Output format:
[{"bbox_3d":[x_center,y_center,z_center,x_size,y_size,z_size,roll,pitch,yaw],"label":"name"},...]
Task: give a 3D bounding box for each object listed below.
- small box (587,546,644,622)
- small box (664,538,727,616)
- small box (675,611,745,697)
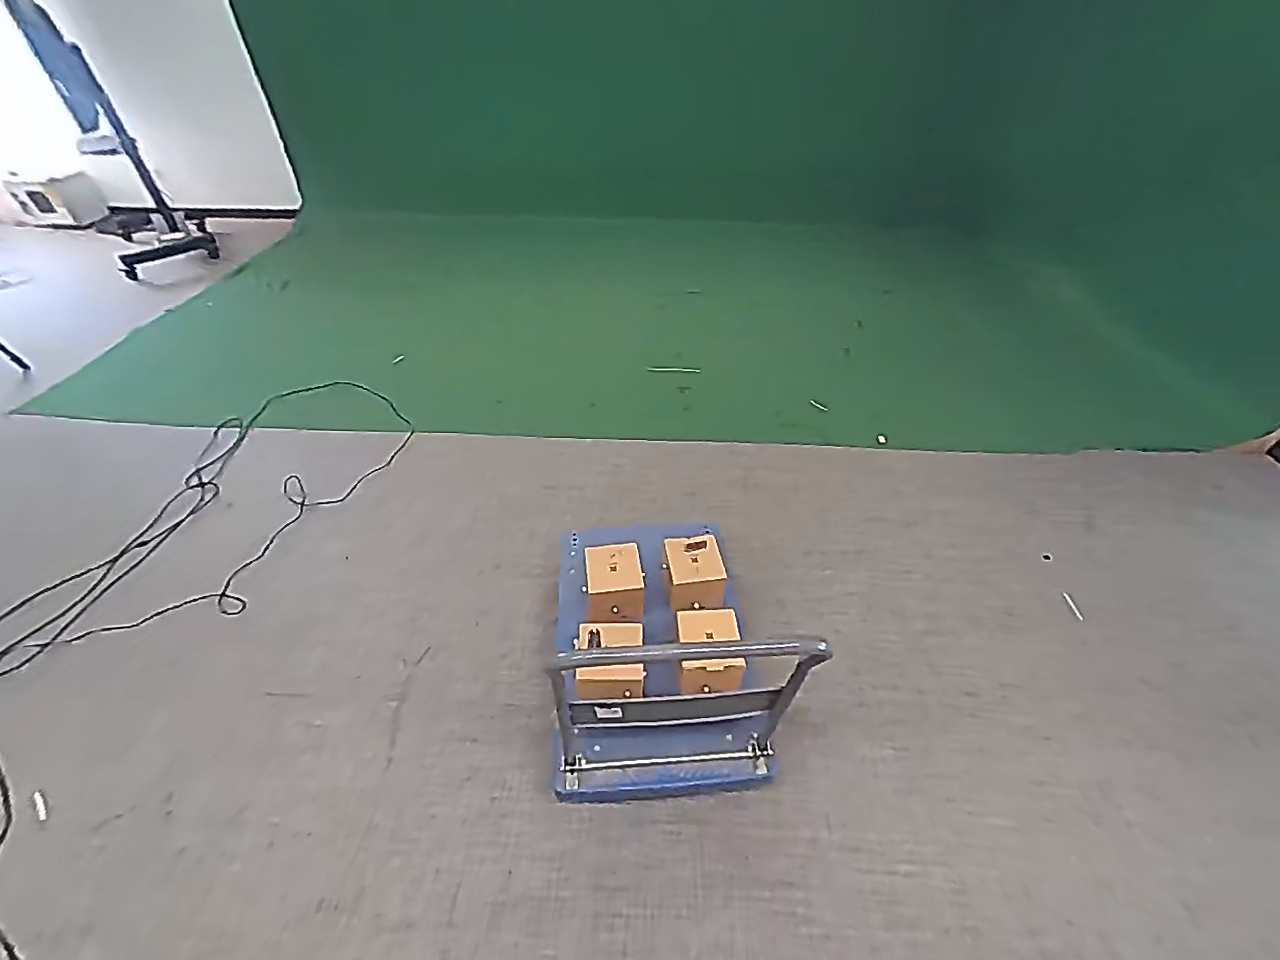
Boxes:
[{"bbox_3d":[-0.078,0.334,1.706,0.168,0.176,0.179,-4,43,-7],"label":"small box"},{"bbox_3d":[0.171,0.310,1.734,0.168,0.176,0.179,-5,44,-5],"label":"small box"},{"bbox_3d":[0.192,0.496,1.538,0.168,0.176,0.179,-2,44,-3],"label":"small box"}]
